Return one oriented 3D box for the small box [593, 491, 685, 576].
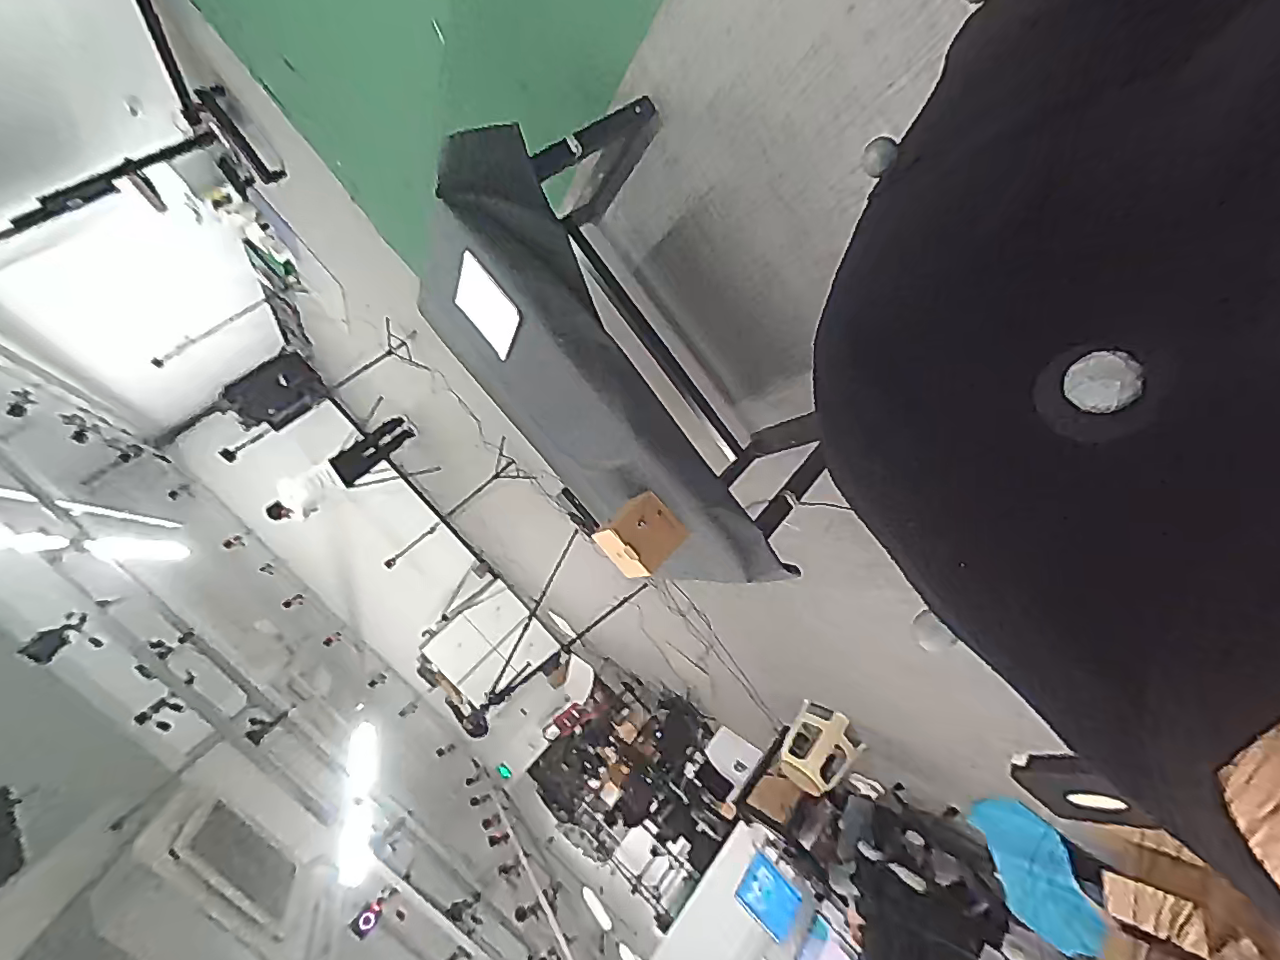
[{"bbox_3d":[0.002,0.149,1.512,0.168,0.176,0.179,50,157,-6],"label":"small box"}]
